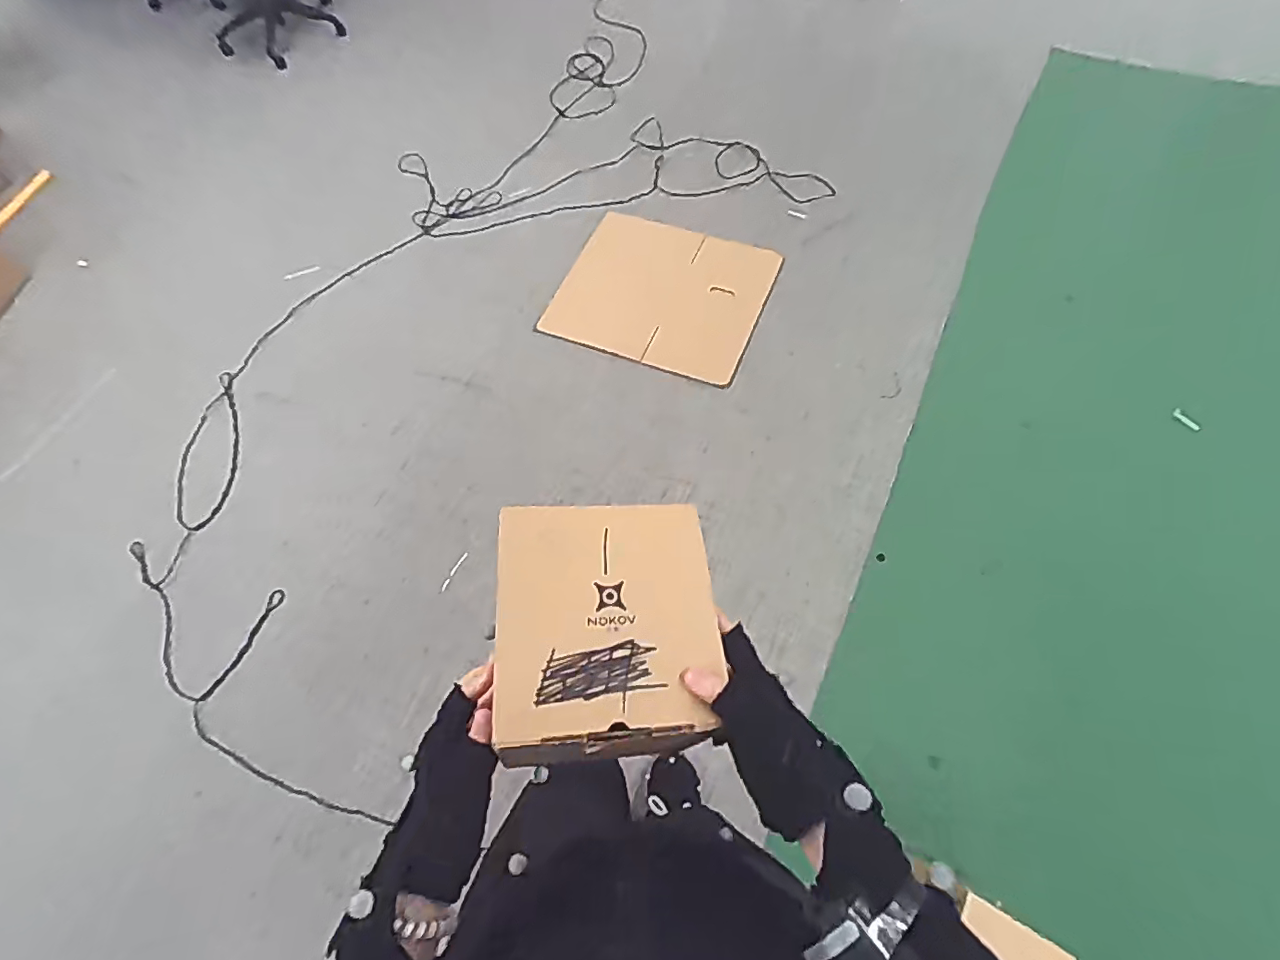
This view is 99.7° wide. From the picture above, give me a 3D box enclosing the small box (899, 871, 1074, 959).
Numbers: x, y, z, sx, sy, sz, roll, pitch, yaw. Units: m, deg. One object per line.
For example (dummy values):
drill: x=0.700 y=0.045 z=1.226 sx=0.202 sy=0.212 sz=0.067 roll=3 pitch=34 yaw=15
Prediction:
small box: x=0.557 y=0.793 z=0.892 sx=0.168 sy=0.176 sz=0.179 roll=27 pitch=70 yaw=16
